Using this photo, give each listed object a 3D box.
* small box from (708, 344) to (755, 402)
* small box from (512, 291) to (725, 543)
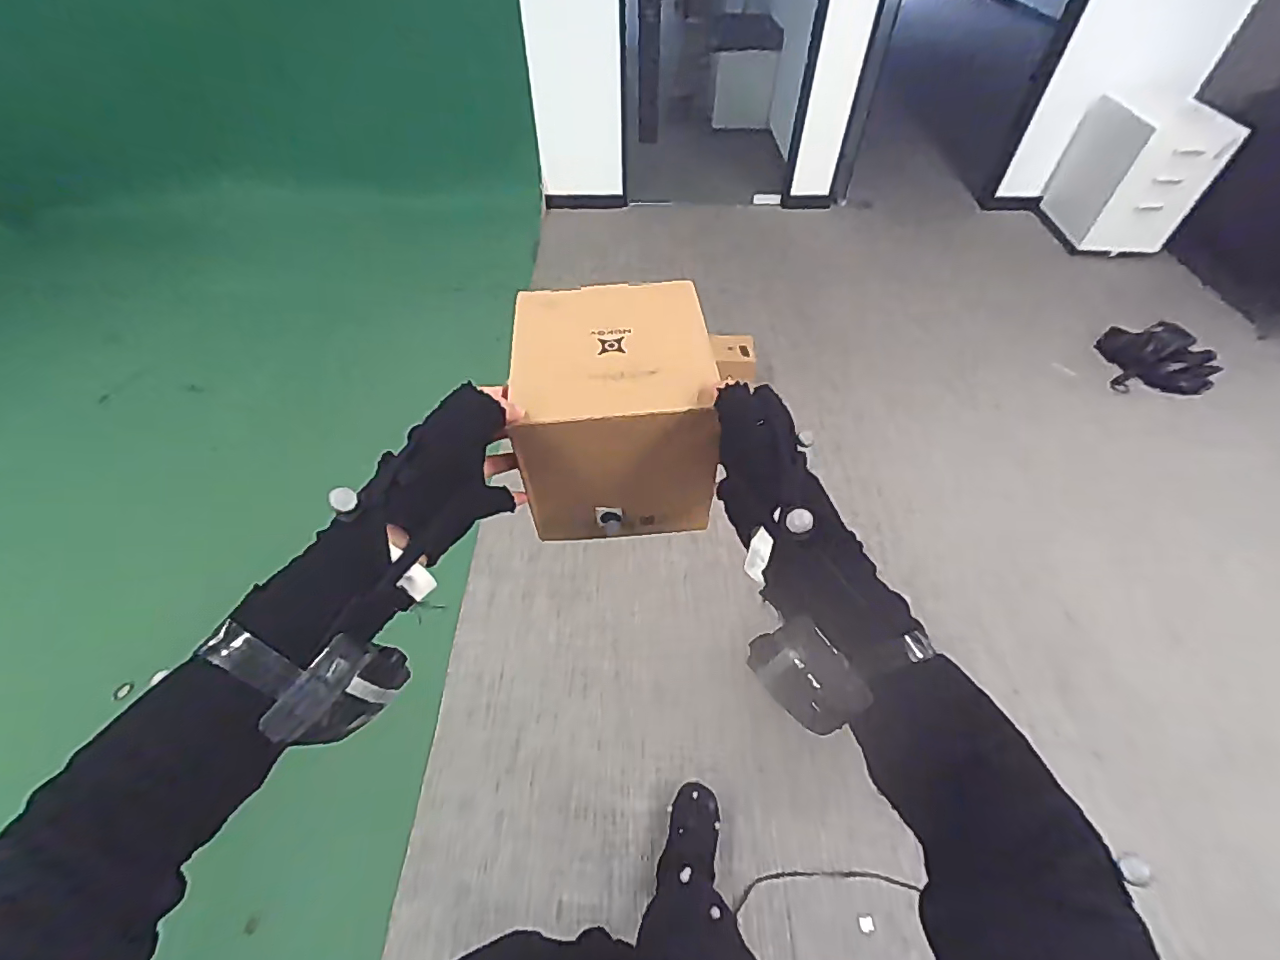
[{"bbox_3d":[0.356,-0.426,2.164,0.179,0.176,0.168,1,49,2],"label":"small box"},{"bbox_3d":[-0.022,-0.060,0.525,0.168,0.176,0.179,-5,50,-2],"label":"small box"}]
